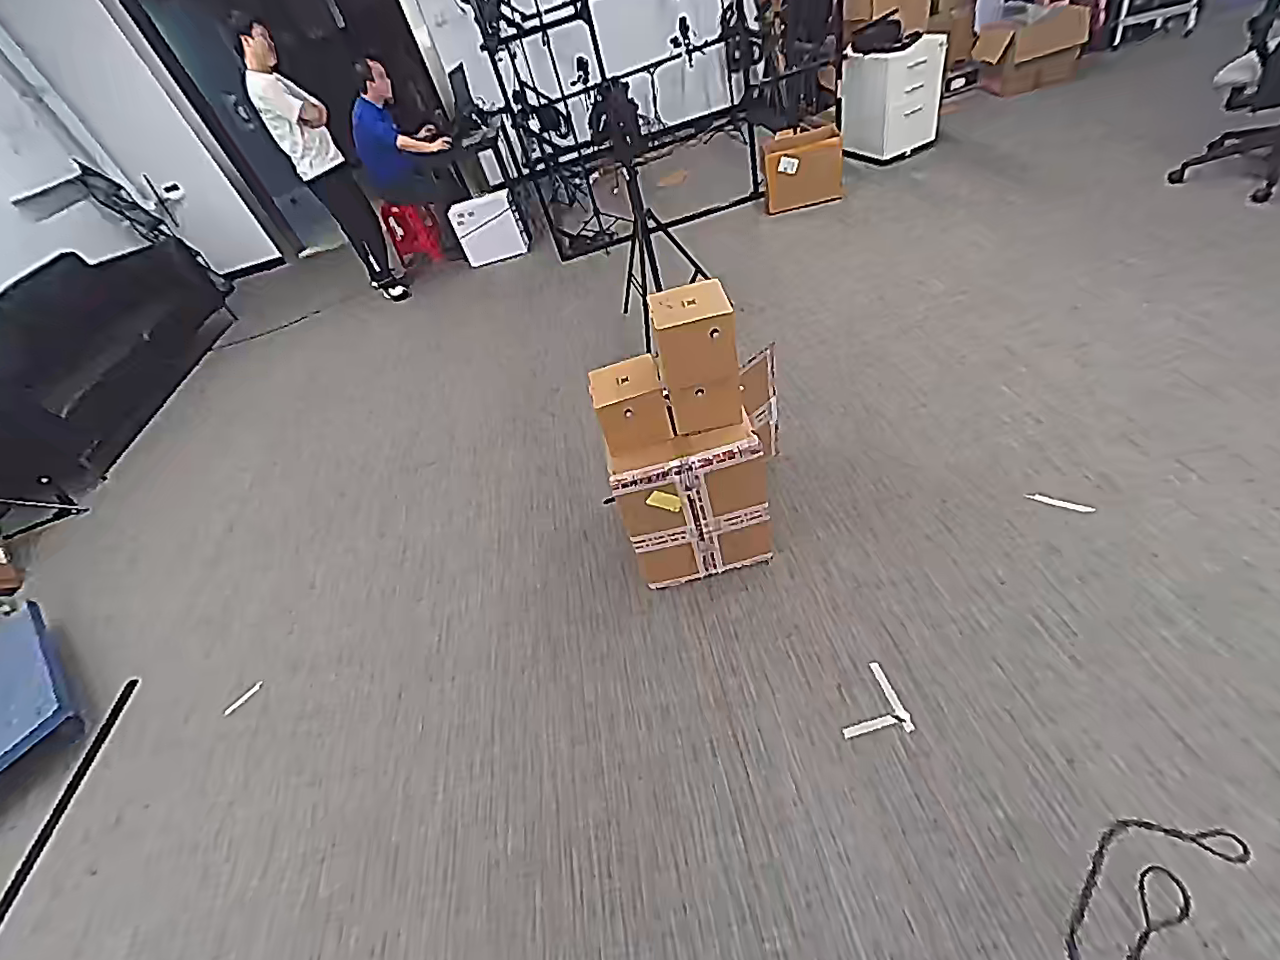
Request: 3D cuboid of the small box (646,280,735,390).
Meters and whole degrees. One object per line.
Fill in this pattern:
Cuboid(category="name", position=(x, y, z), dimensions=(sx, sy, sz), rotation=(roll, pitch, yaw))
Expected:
Cuboid(category="small box", position=(0.121, -0.336, 1.269), dimensions=(0.179, 0.176, 0.168), rotation=(-13, 44, 4))

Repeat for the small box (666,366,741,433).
Cuboid(category="small box", position=(0.158, -0.242, 1.401), dimensions=(0.179, 0.176, 0.168), rotation=(-11, 45, 6))
